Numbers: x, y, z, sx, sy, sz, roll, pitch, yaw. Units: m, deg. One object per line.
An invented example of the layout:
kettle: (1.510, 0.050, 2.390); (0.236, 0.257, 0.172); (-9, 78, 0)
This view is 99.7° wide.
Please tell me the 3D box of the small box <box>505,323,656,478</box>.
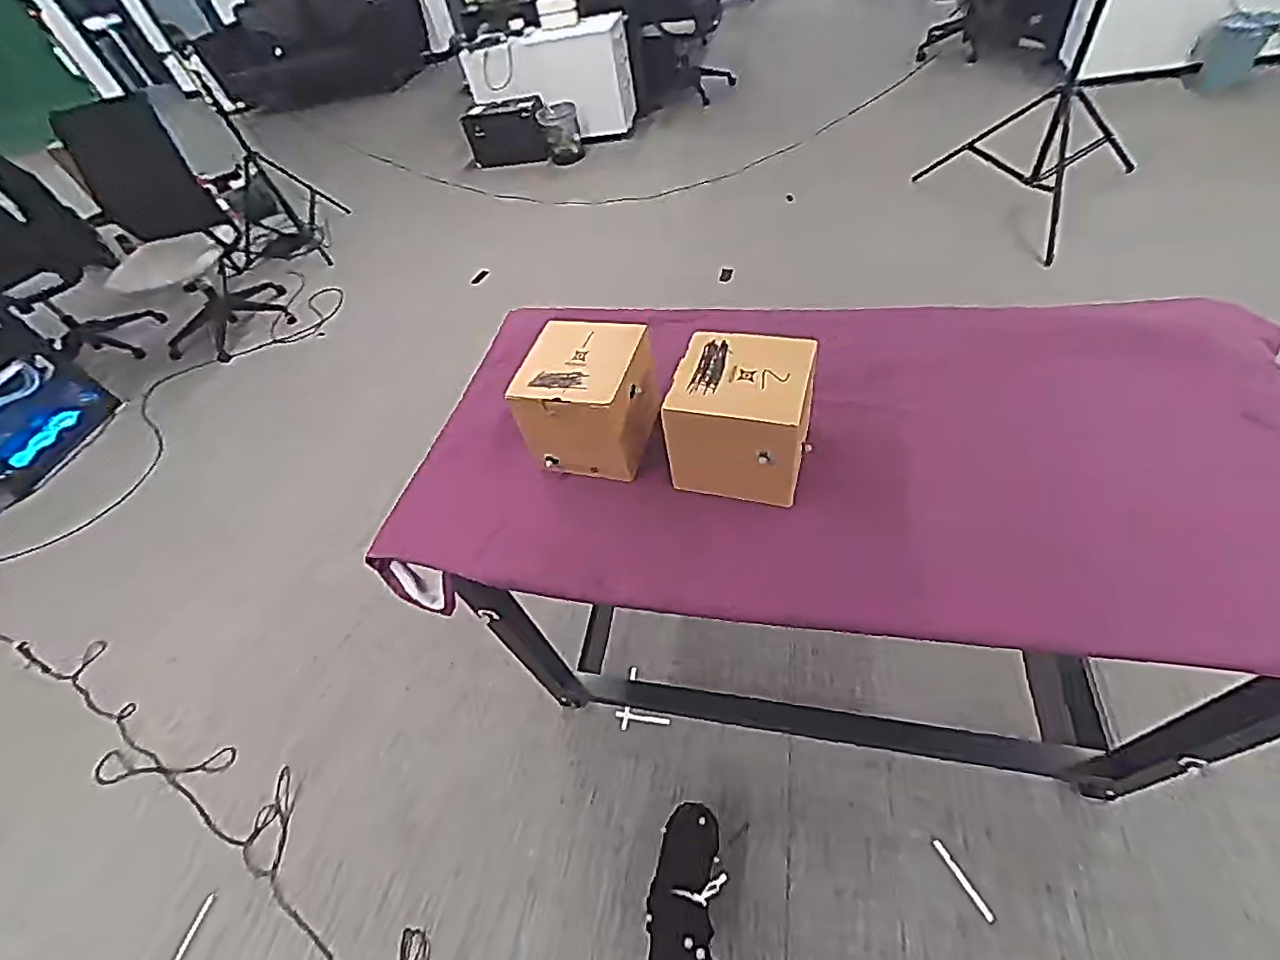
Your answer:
small box: (-0.080, -0.124, 0.853); (0.168, 0.176, 0.179); (8, 54, 17)
